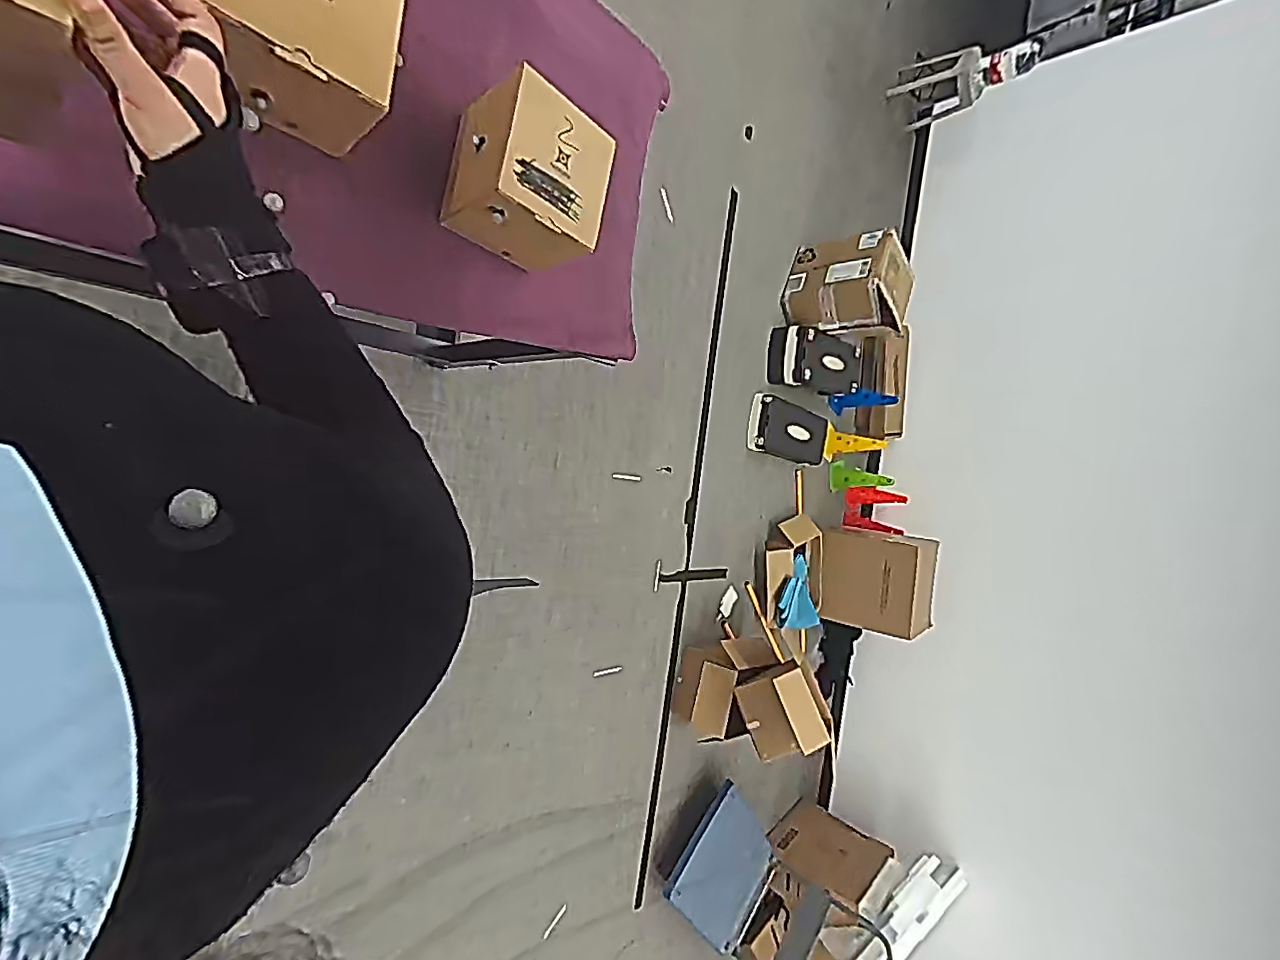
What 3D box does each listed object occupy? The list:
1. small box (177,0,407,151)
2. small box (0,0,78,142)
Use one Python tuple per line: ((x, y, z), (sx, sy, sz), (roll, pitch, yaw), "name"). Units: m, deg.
((-0.370, -0.498, 0.578), (0.168, 0.176, 0.179), (8, 91, -46), "small box")
((-0.419, -0.327, 0.285), (0.168, 0.176, 0.179), (3, 85, -52), "small box")
